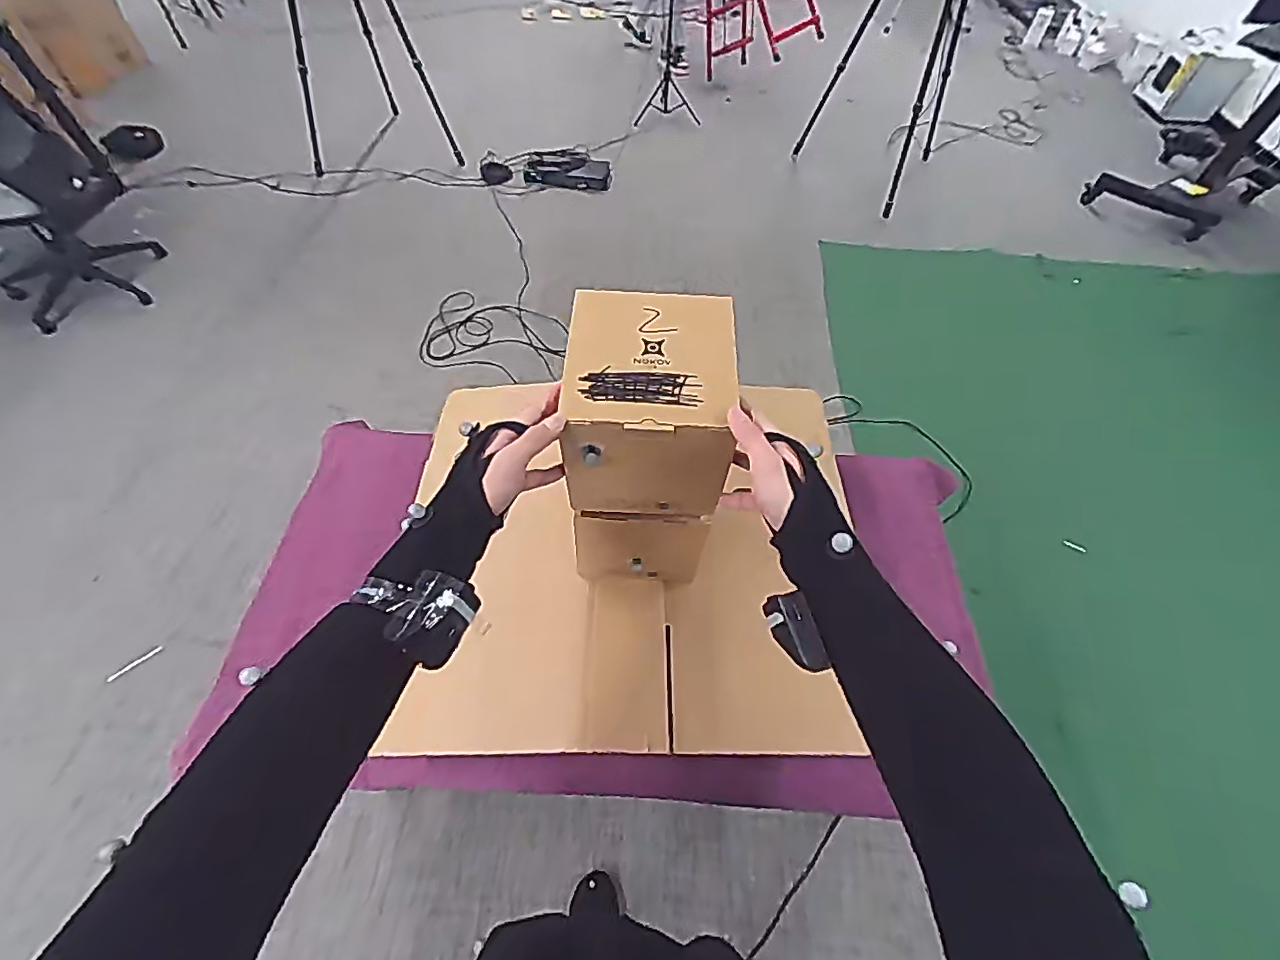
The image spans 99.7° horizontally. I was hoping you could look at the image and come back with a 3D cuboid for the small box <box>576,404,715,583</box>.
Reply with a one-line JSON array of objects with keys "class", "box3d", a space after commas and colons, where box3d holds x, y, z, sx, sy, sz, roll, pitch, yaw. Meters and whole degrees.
[{"class": "small box", "box3d": [0.004, 0.021, 0.735, 0.168, 0.176, 0.179, 3, 56, -1]}]
